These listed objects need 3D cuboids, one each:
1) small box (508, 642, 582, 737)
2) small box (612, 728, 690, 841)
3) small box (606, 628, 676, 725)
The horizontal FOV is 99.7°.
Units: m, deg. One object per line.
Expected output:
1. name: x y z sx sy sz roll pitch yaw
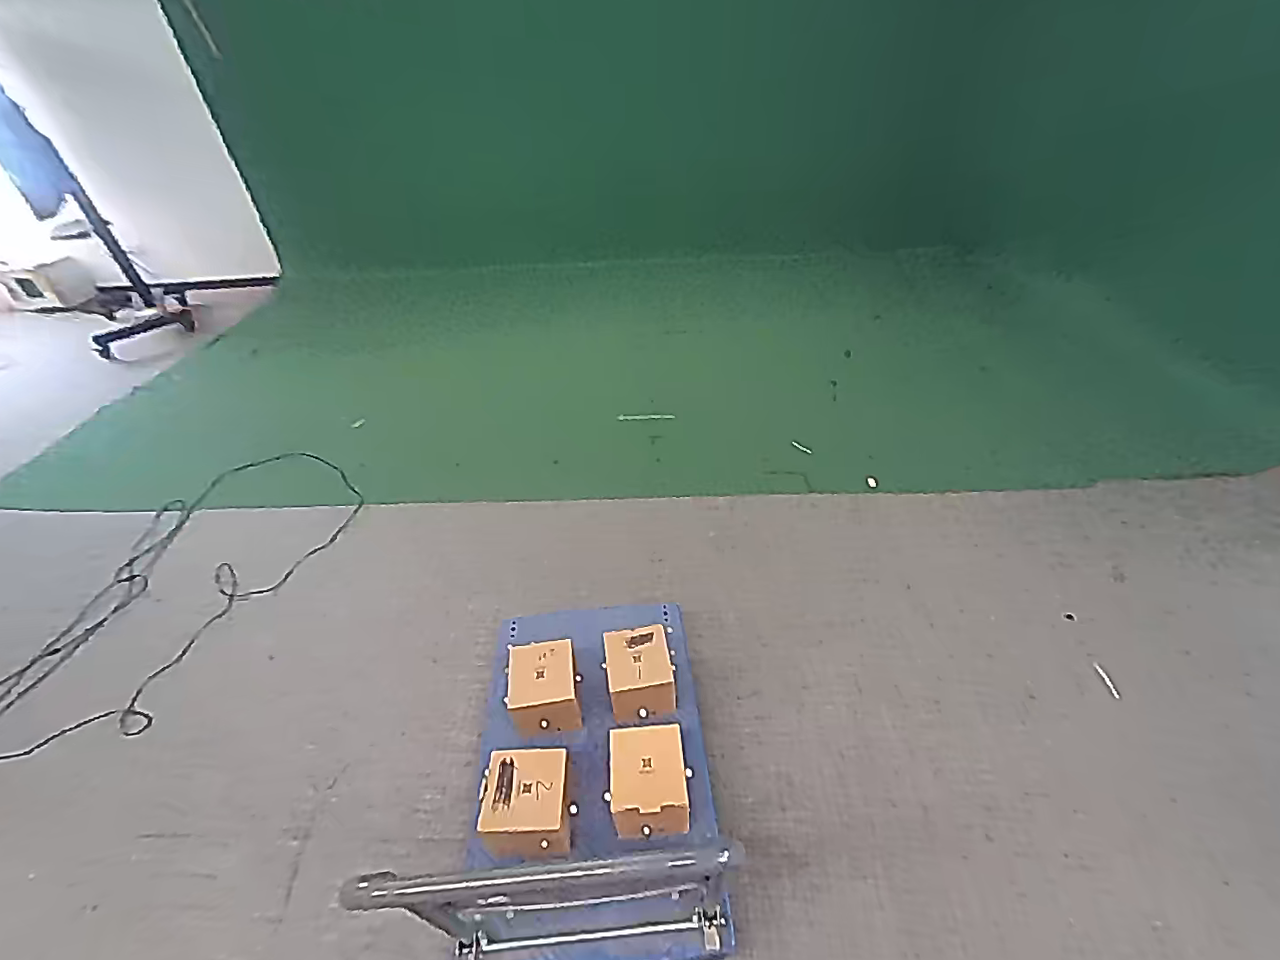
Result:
1. small box: -0.247 0.561 1.435 0.168 0.176 0.179 -7 40 -4
2. small box: 0.022 0.701 1.247 0.168 0.176 0.179 -4 40 -1
3. small box: 0.002 0.527 1.453 0.168 0.176 0.179 -8 41 -3
